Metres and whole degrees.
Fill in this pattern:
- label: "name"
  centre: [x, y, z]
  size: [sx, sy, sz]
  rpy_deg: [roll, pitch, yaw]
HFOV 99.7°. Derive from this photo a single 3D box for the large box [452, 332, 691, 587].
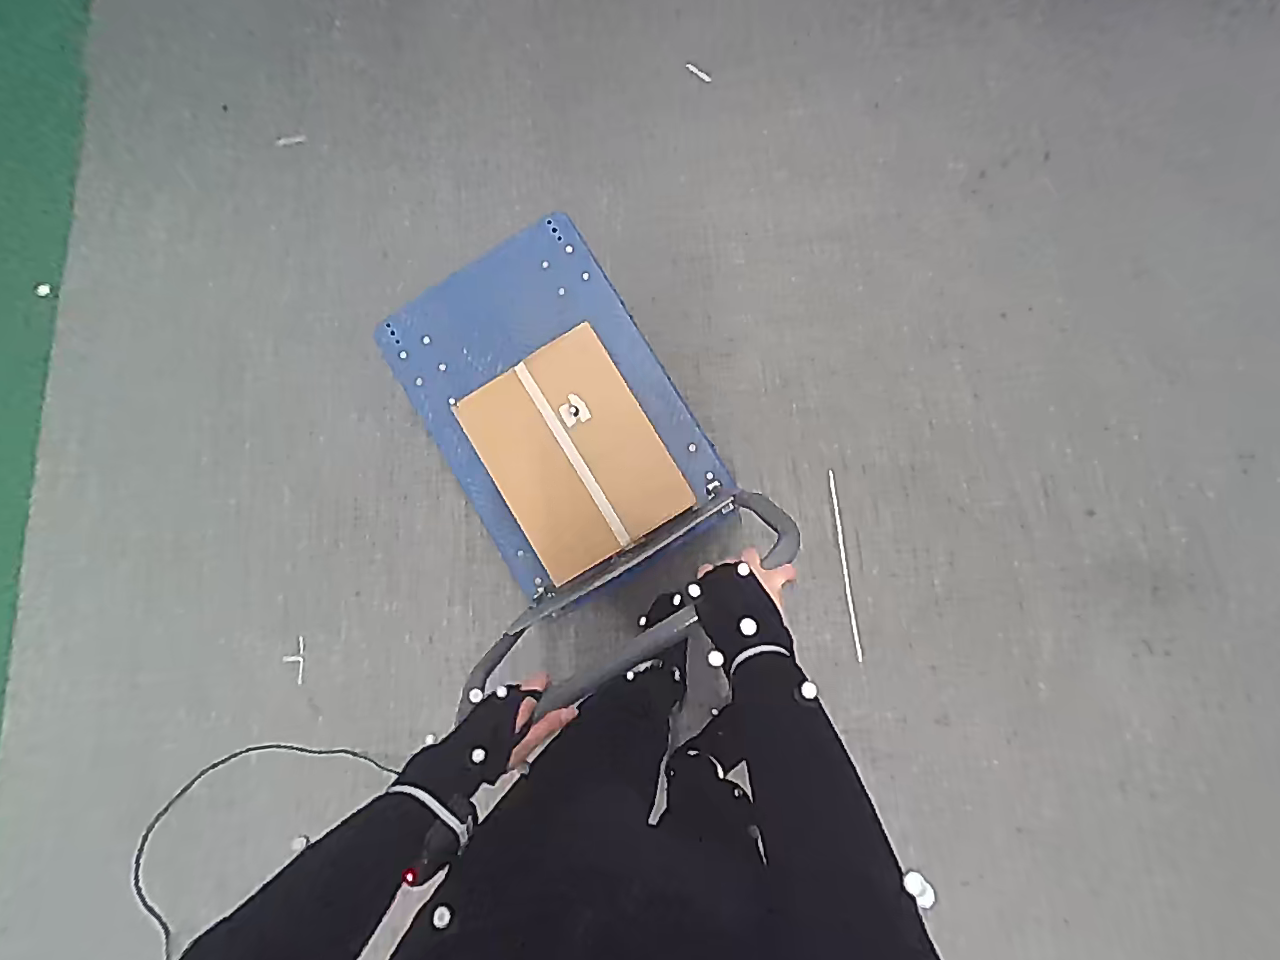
- label: "large box"
  centre: [-0.123, -0.034, 1.176]
  size: [0.320, 0.320, 0.408]
  rpy_deg: [-32, 85, 1]
